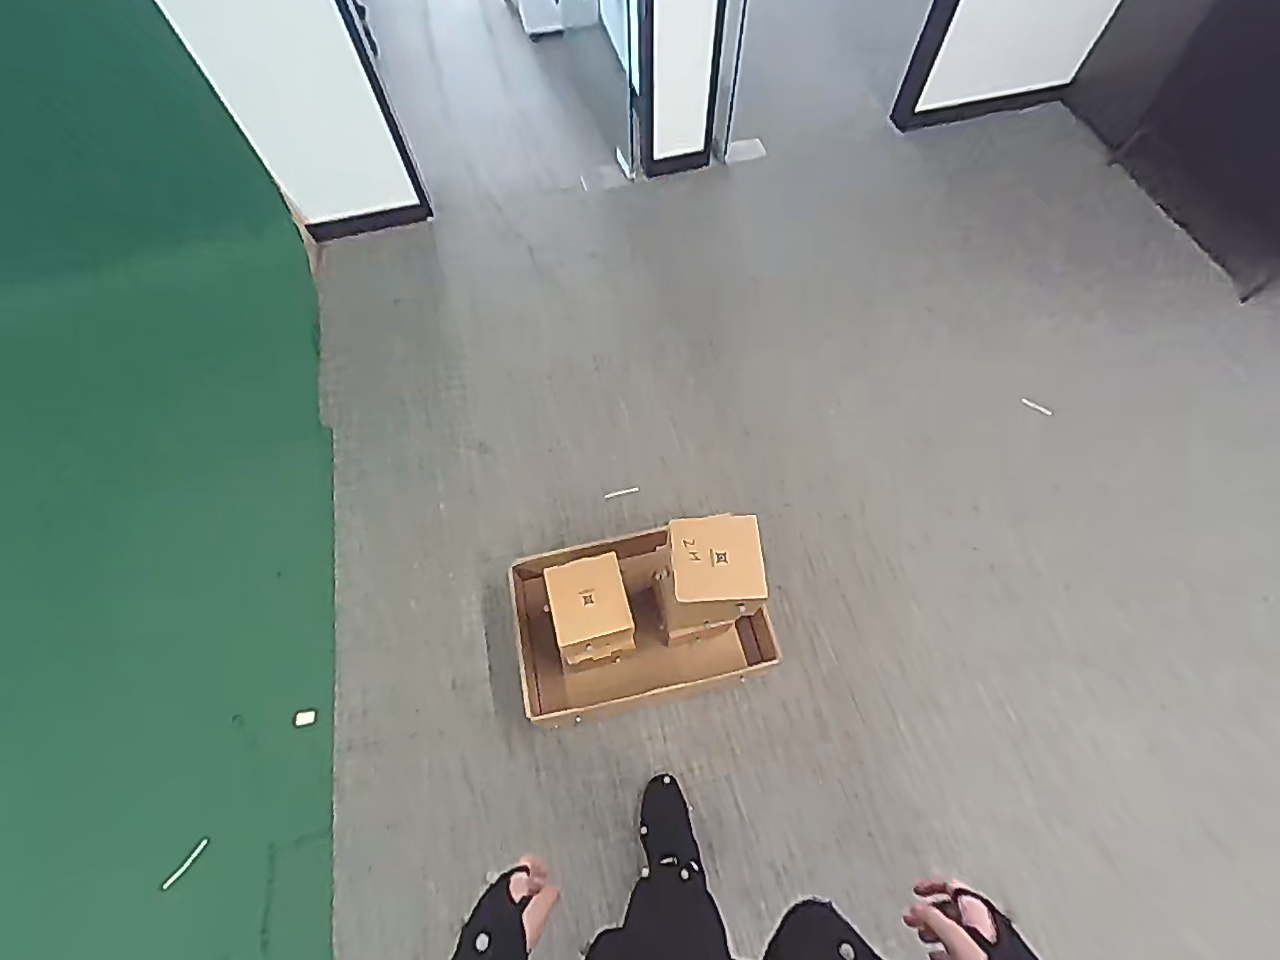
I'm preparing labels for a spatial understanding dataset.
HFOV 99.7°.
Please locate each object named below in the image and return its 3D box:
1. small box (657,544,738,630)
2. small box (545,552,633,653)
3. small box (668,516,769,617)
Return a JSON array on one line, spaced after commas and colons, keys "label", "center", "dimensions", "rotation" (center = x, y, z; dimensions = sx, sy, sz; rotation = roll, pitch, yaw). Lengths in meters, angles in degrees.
[{"label": "small box", "center": [0.140, 0.241, 1.253], "dimensions": [0.179, 0.176, 0.168], "rotation": [-9, 65, -3]}, {"label": "small box", "center": [-0.112, 0.288, 1.239], "dimensions": [0.168, 0.176, 0.179], "rotation": [-13, 64, -8]}, {"label": "small box", "center": [0.150, 0.180, 1.099], "dimensions": [0.179, 0.176, 0.168], "rotation": [-3, 65, 0]}]
